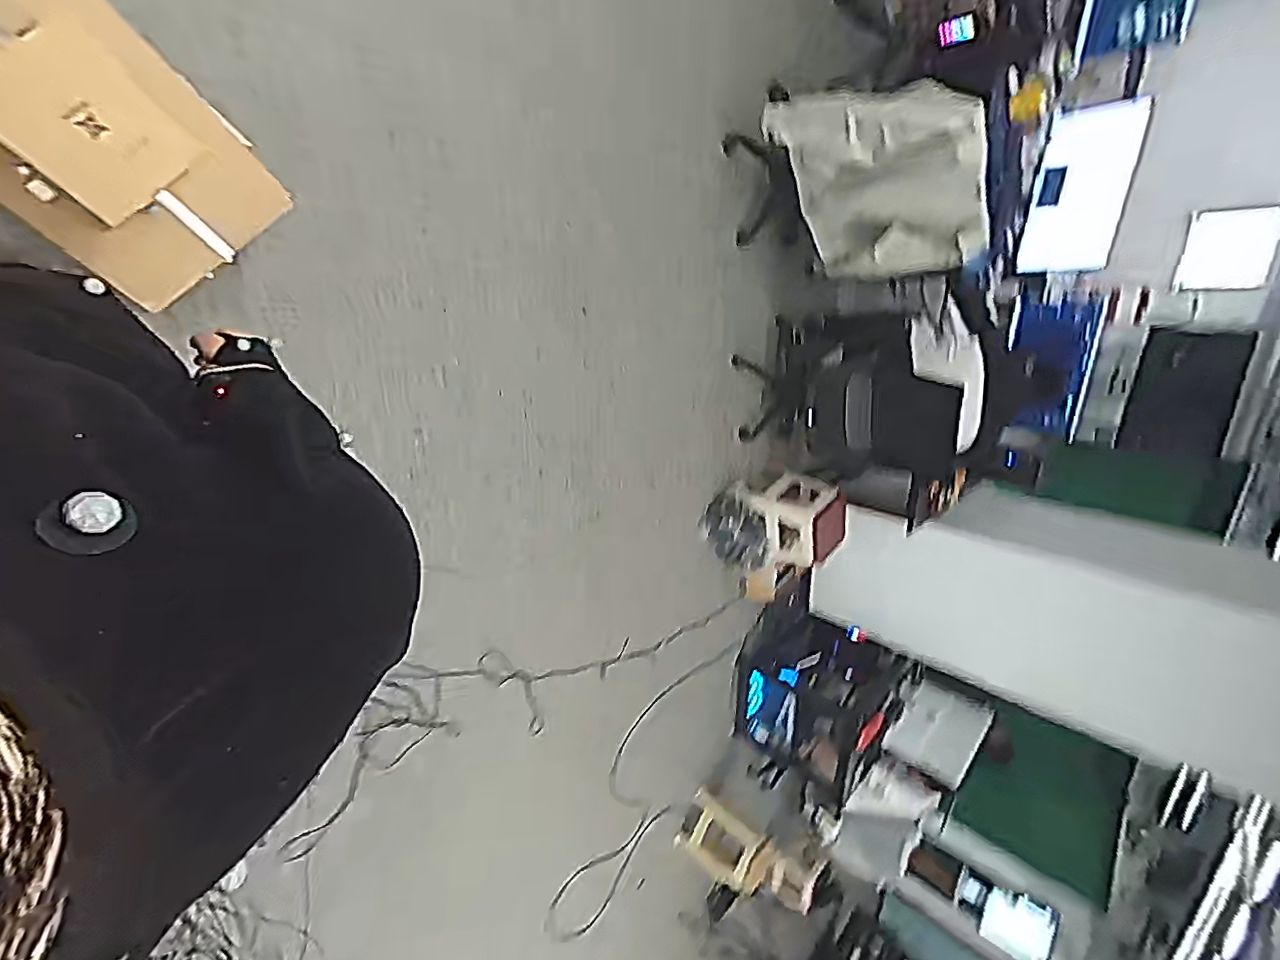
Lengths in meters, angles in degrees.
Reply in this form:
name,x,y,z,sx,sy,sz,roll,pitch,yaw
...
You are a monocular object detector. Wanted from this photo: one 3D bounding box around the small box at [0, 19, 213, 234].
name,x,y,z,sx,sy,sz,roll,pitch,yaw
small box,-0.737,-0.456,0.729,0.168,0.176,0.179,-55,136,-16
